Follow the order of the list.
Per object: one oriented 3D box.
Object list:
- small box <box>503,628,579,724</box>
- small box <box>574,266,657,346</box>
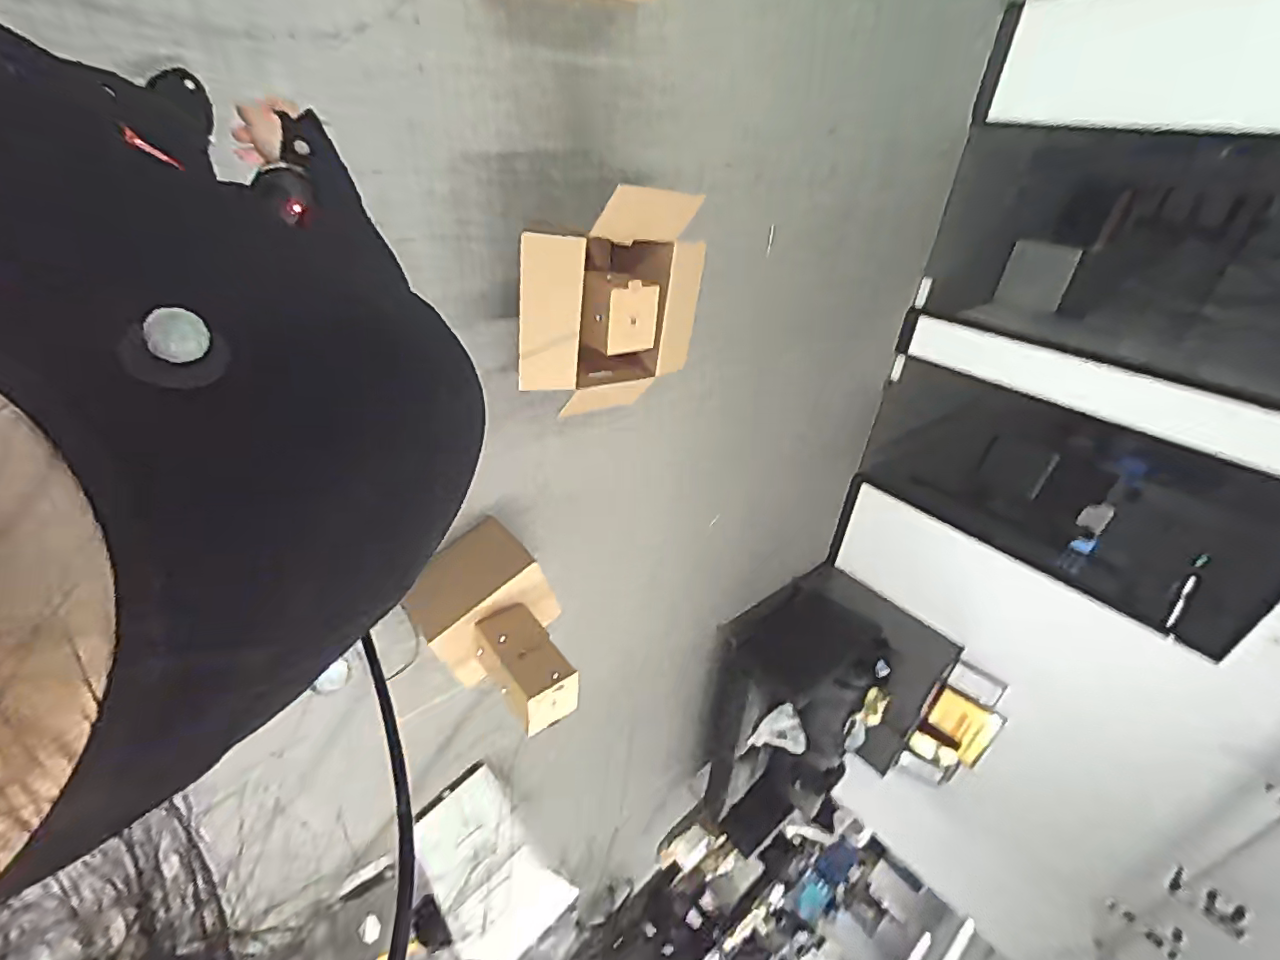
[{"bbox_3d":[-0.302,0.586,1.632,0.168,0.176,0.179,-21,133,-35],"label":"small box"},{"bbox_3d":[-0.075,-0.497,1.525,0.168,0.176,0.179,-19,130,-34],"label":"small box"}]
